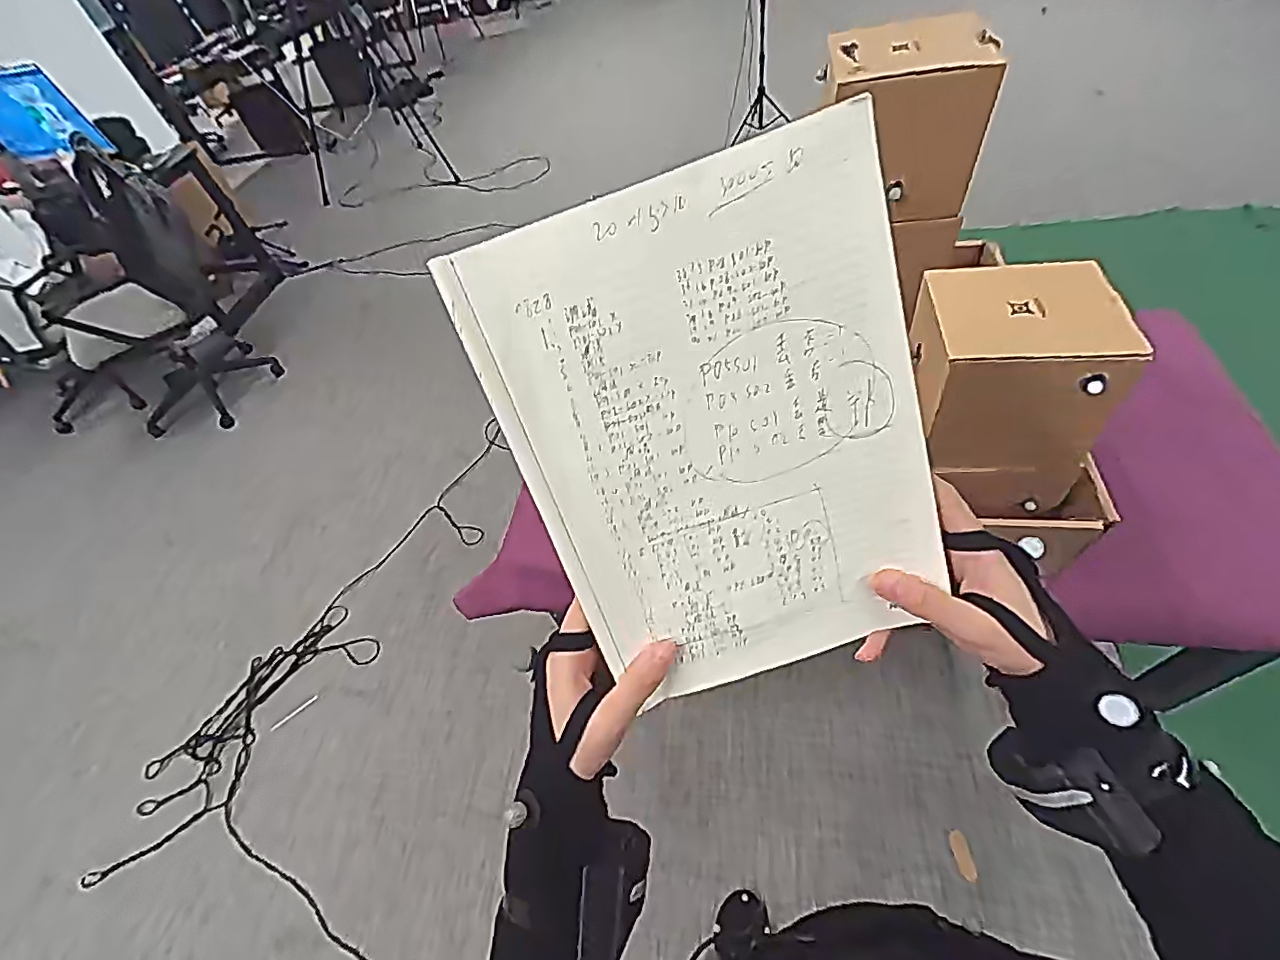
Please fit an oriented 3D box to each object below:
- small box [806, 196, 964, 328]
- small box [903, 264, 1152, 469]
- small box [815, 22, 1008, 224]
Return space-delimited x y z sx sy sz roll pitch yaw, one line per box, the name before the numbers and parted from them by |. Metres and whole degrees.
small box | 0.357 -0.352 0.826 0.179 0.176 0.168 -1 53 11
small box | 0.418 -0.127 0.628 0.179 0.176 0.168 2 51 13
small box | 0.330 -0.454 0.701 0.179 0.176 0.168 2 53 11
